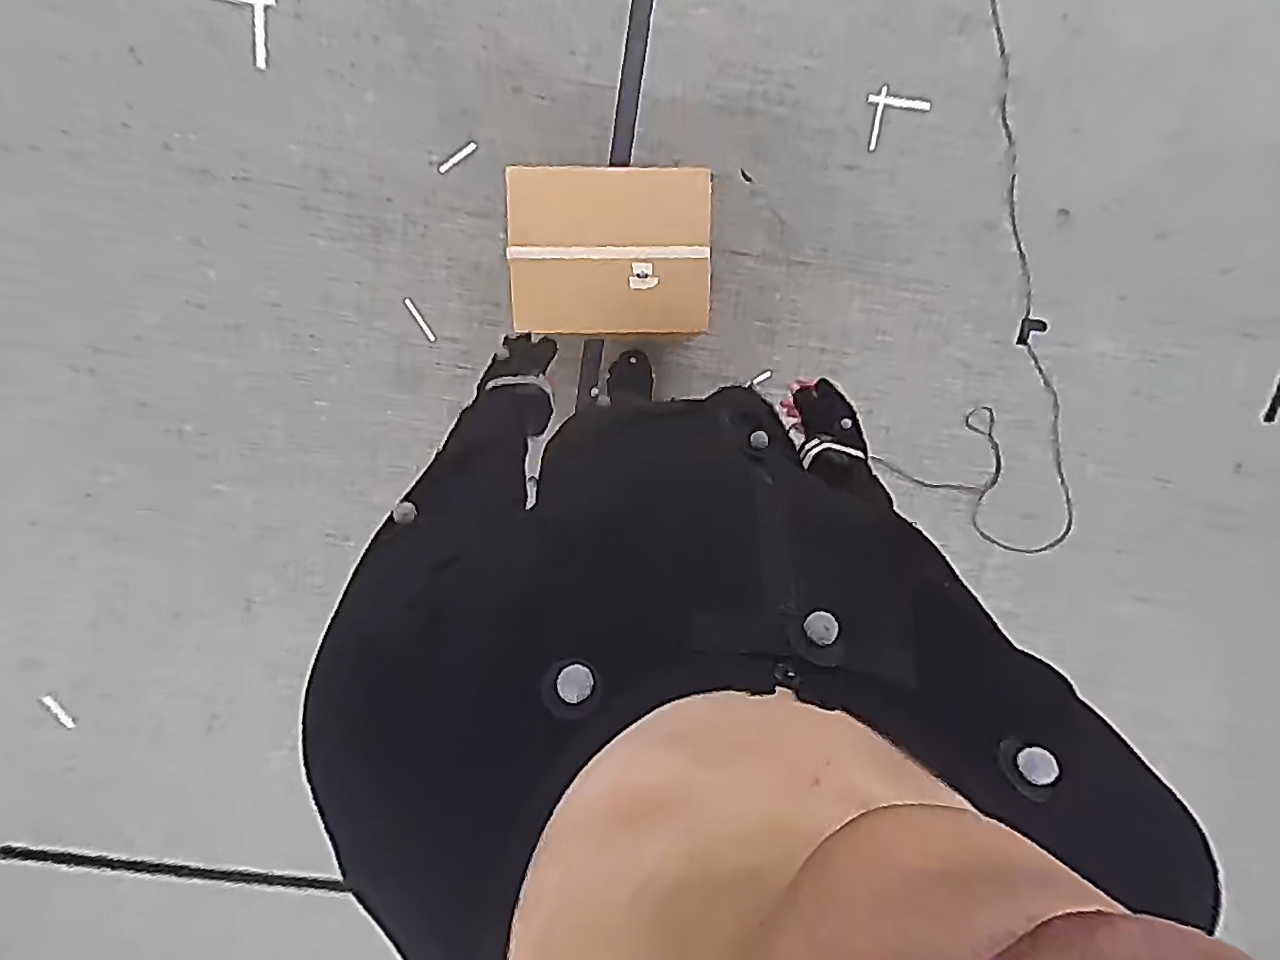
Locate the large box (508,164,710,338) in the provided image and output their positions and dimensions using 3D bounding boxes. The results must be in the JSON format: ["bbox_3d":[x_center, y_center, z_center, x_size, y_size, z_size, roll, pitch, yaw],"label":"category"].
[{"bbox_3d":[-0.064,-0.495,1.233,0.408,0.320,0.320,-1,103,-2],"label":"large box"}]
